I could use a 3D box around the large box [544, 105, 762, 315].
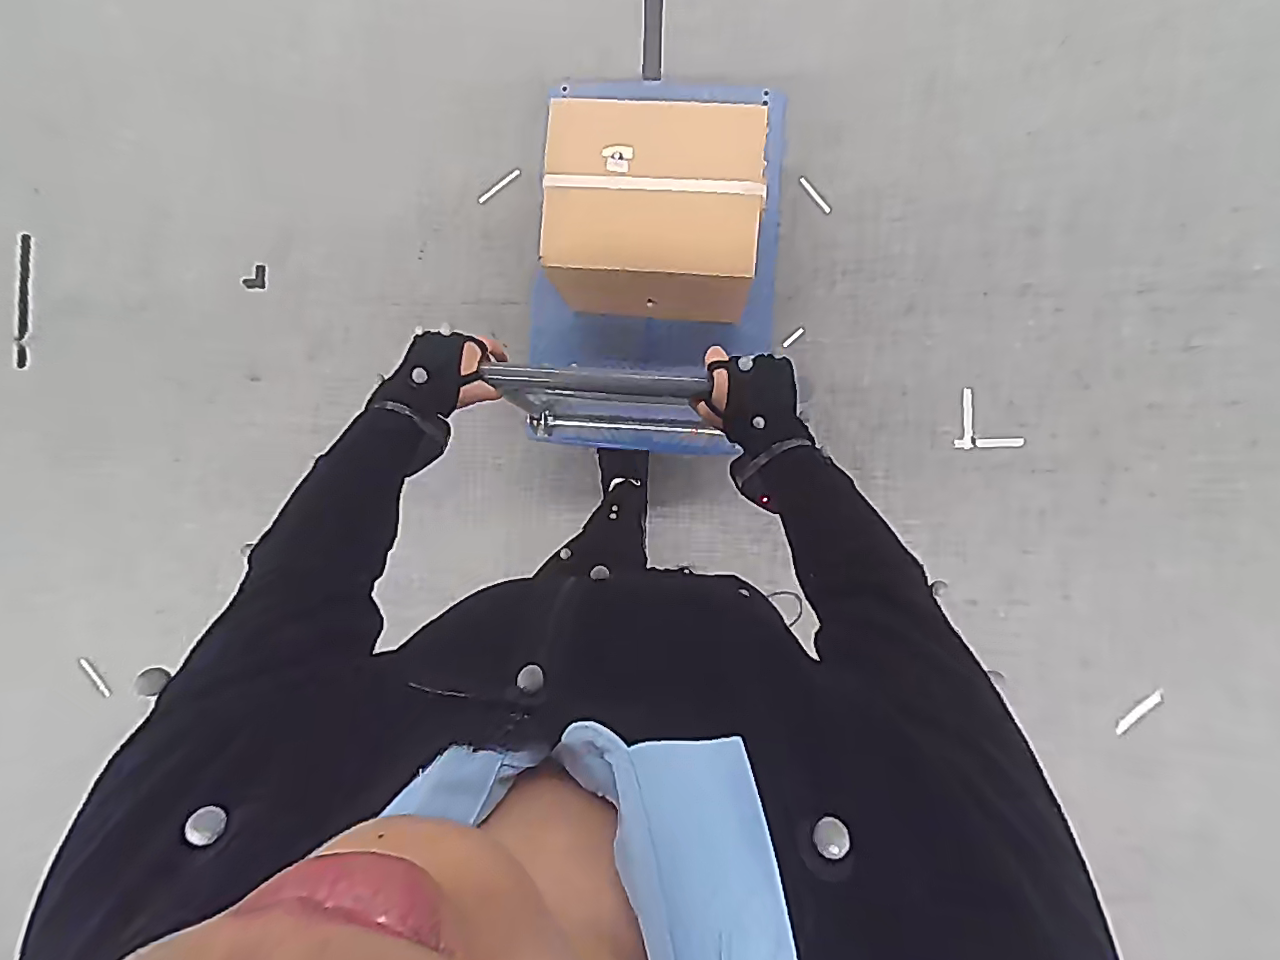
[{"bbox_3d":[0.035,-0.554,1.166,0.408,0.320,0.320,4,91,5],"label":"large box"}]
